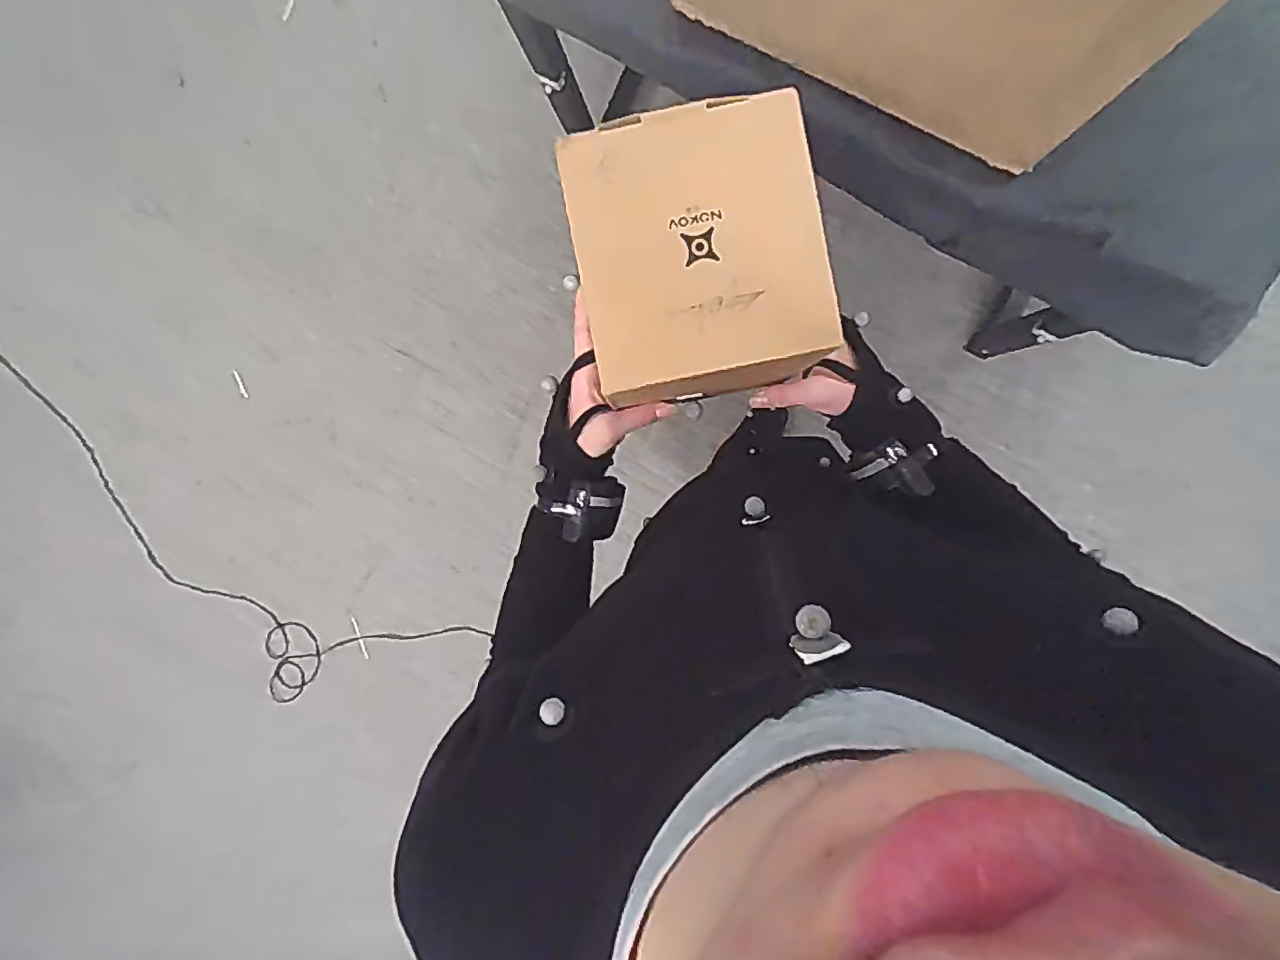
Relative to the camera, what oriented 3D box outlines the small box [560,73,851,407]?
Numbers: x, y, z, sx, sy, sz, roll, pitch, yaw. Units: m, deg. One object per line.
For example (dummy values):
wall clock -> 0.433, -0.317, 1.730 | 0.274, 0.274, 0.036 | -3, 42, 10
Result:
small box -> 0.043, -0.167, 0.434 | 0.168, 0.176, 0.179 | -12, 92, 2
